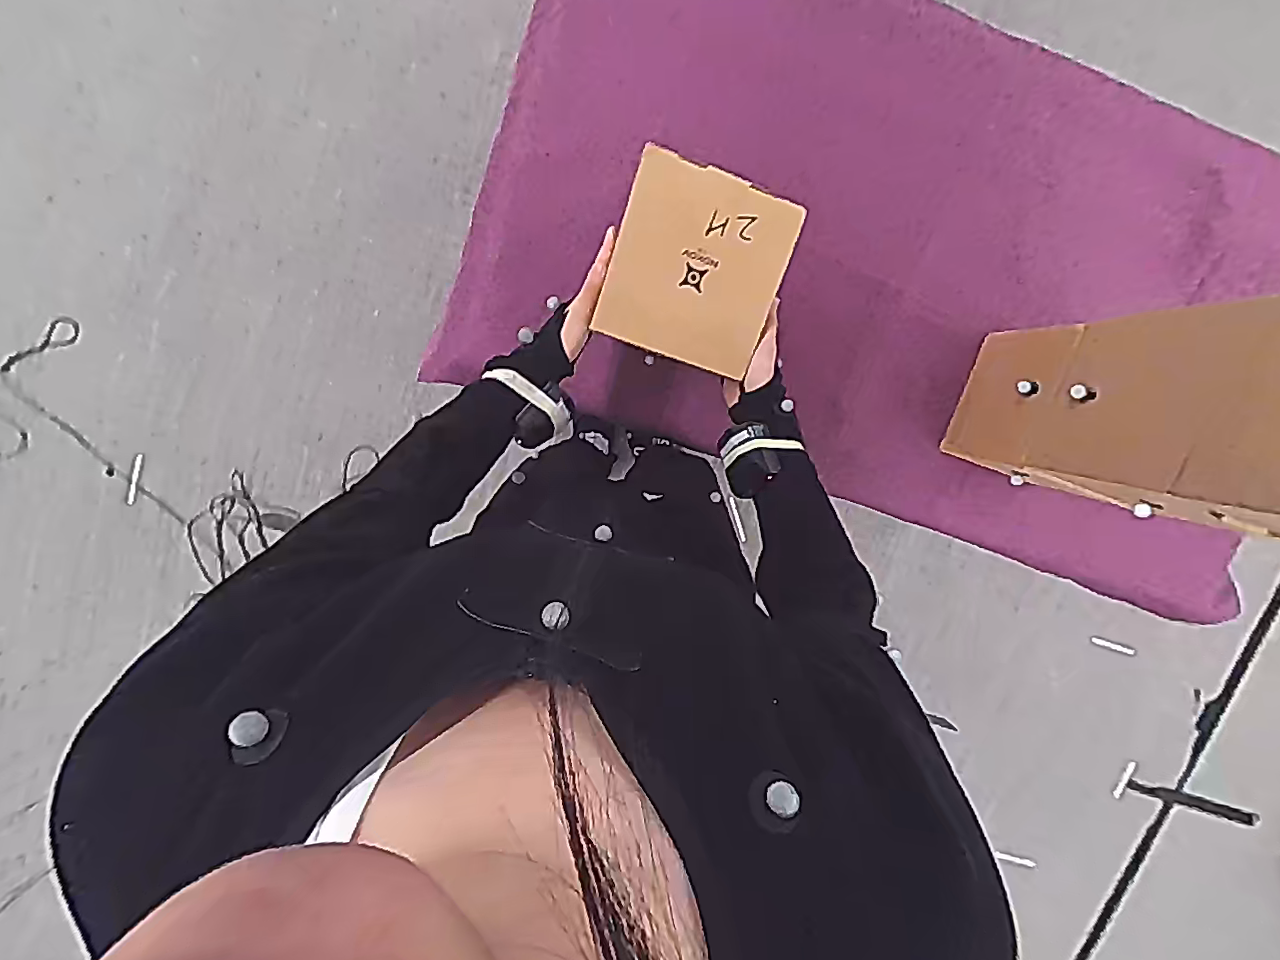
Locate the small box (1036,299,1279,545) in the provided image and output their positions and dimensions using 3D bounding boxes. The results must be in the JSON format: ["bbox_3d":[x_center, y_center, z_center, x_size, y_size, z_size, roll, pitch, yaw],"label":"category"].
[{"bbox_3d":[0.551,-0.056,0.541,0.168,0.176,0.179,19,99,-6],"label":"small box"}]

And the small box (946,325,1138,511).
[{"bbox_3d":[0.540,-0.082,0.703,0.168,0.176,0.179,18,98,-6],"label":"small box"}]

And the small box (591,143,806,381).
[{"bbox_3d":[0.050,-0.224,0.598,0.168,0.176,0.179,17,102,-10],"label":"small box"}]
